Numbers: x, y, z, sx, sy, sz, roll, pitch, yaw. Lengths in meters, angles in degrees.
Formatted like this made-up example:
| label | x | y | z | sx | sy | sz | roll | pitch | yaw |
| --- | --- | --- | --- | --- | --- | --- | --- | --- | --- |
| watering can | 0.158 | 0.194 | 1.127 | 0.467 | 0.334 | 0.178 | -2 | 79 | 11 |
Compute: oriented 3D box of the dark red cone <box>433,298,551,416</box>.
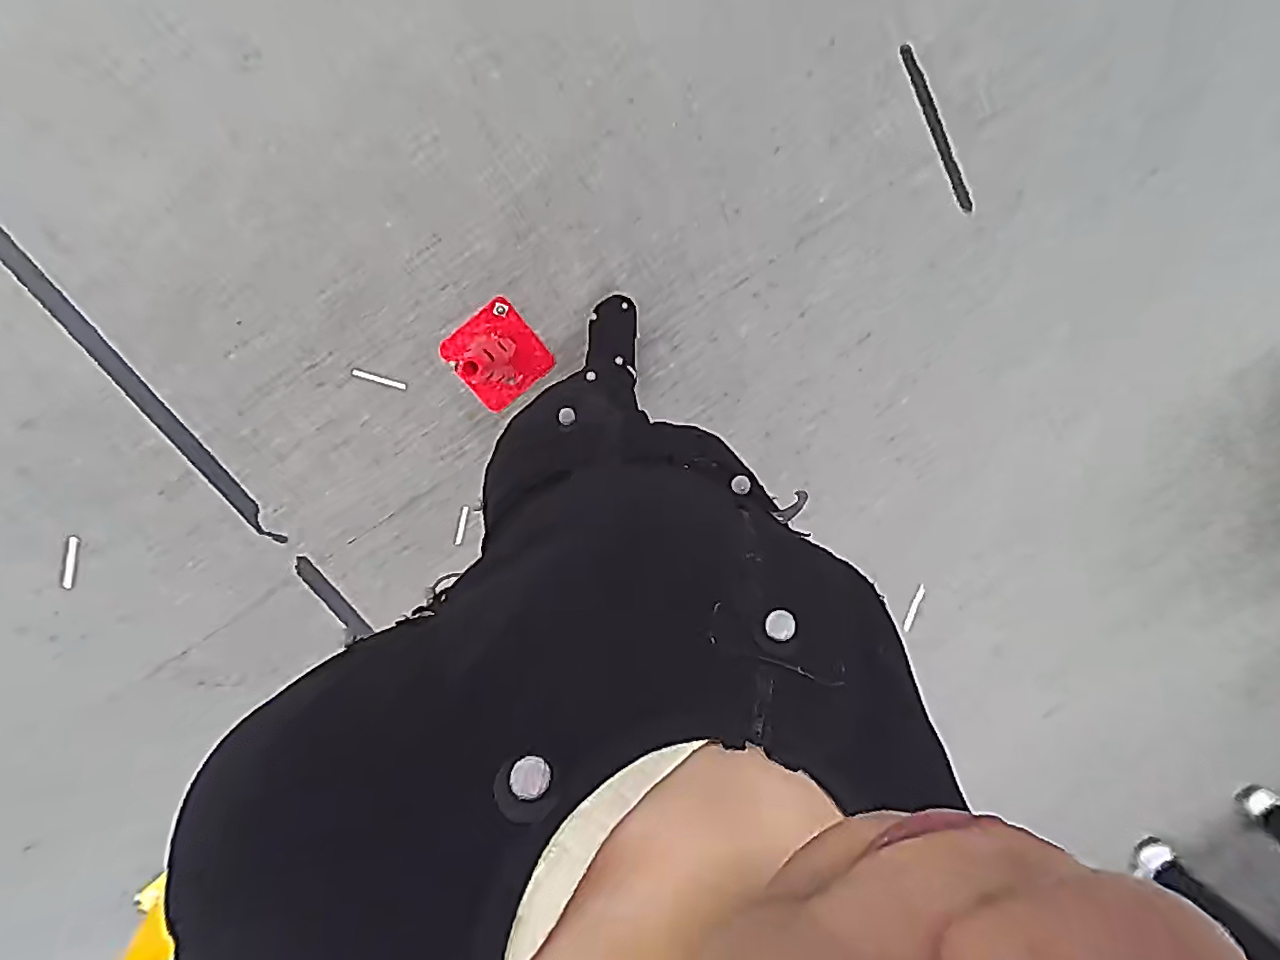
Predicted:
| label | x | y | z | sx | sy | sz | roll | pitch | yaw |
| --- | --- | --- | --- | --- | --- | --- | --- | --- | --- |
| dark red cone | -0.312 | -0.226 | 1.060 | 0.201 | 0.394 | 0.202 | -39 | 107 | 6 |
